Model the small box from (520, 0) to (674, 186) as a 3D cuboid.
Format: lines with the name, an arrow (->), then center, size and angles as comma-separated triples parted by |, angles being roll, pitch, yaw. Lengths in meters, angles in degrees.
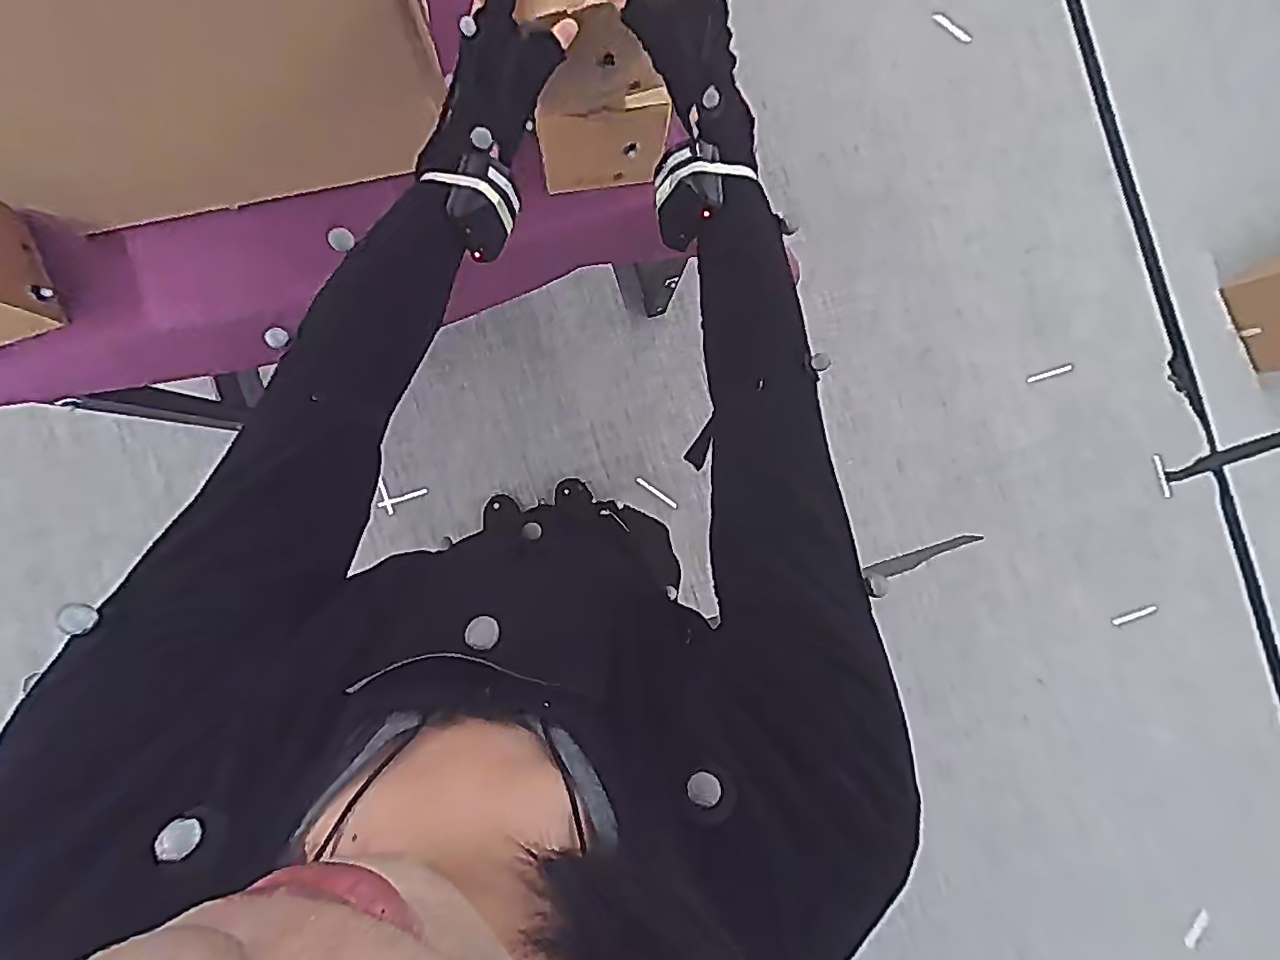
small box -> -0.058, -0.520, 0.723 | 0.168, 0.176, 0.179 | -10, 89, -6

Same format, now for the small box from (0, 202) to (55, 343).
small box -> -0.862, -0.259, 0.634 | 0.179, 0.176, 0.168 | -22, 90, -7
